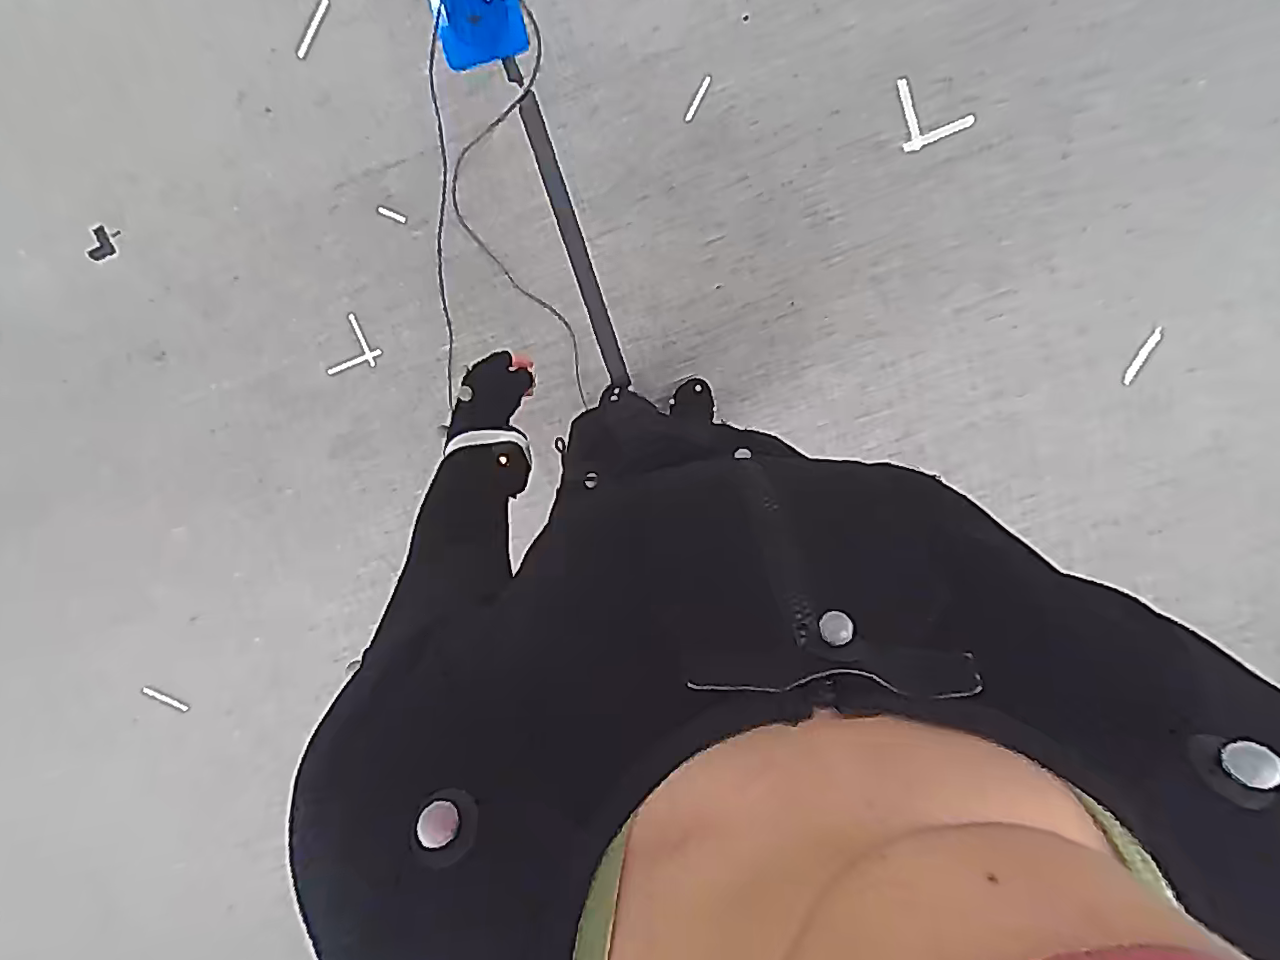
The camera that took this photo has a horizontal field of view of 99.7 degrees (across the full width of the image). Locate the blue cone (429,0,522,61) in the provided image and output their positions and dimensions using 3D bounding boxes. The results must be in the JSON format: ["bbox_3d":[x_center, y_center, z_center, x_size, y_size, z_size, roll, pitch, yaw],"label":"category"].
[{"bbox_3d":[-0.373,-1.026,1.054,0.193,0.380,0.192,-16,103,4],"label":"blue cone"}]
